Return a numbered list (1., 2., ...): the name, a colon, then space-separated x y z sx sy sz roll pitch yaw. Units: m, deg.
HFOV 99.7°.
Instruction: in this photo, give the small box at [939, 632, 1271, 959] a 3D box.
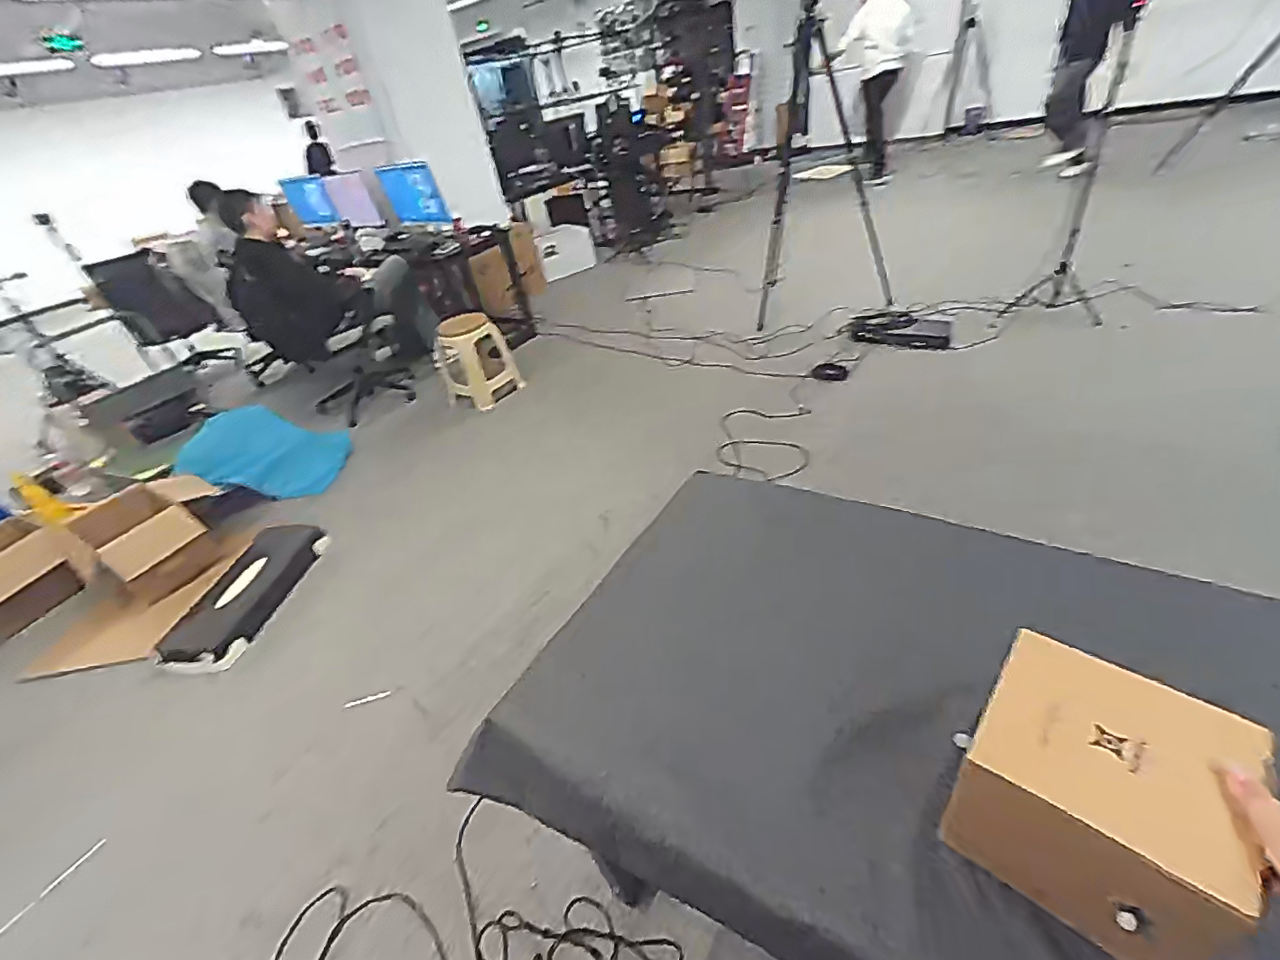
1. small box: 0.401 0.282 0.491 0.179 0.176 0.168 22 47 39
